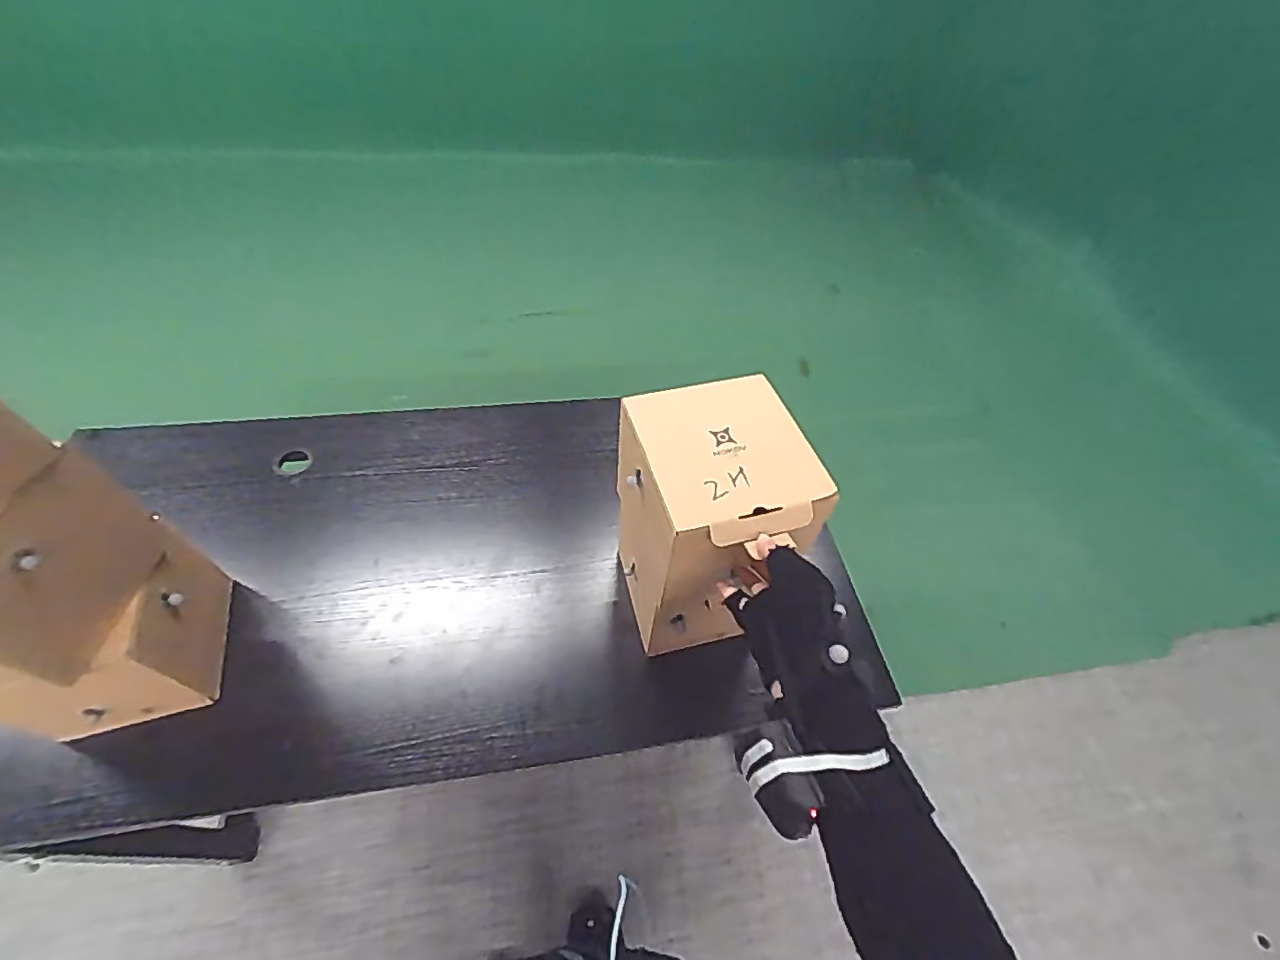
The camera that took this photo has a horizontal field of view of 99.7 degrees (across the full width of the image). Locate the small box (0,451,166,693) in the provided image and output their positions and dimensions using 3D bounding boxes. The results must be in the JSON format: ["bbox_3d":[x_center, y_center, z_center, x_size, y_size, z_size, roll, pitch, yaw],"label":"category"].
[{"bbox_3d":[-0.607,0.085,0.500,0.168,0.176,0.179,6,53,-1],"label":"small box"}]

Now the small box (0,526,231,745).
[{"bbox_3d":[-0.616,0.183,0.632,0.168,0.176,0.179,-12,56,-14],"label":"small box"}]

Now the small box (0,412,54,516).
[{"bbox_3d":[-0.599,-0.018,0.372,0.168,0.176,0.179,15,55,5],"label":"small box"}]

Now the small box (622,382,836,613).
[{"bbox_3d":[0.079,0.020,0.602,0.168,0.176,0.179,-12,55,-13],"label":"small box"}]
